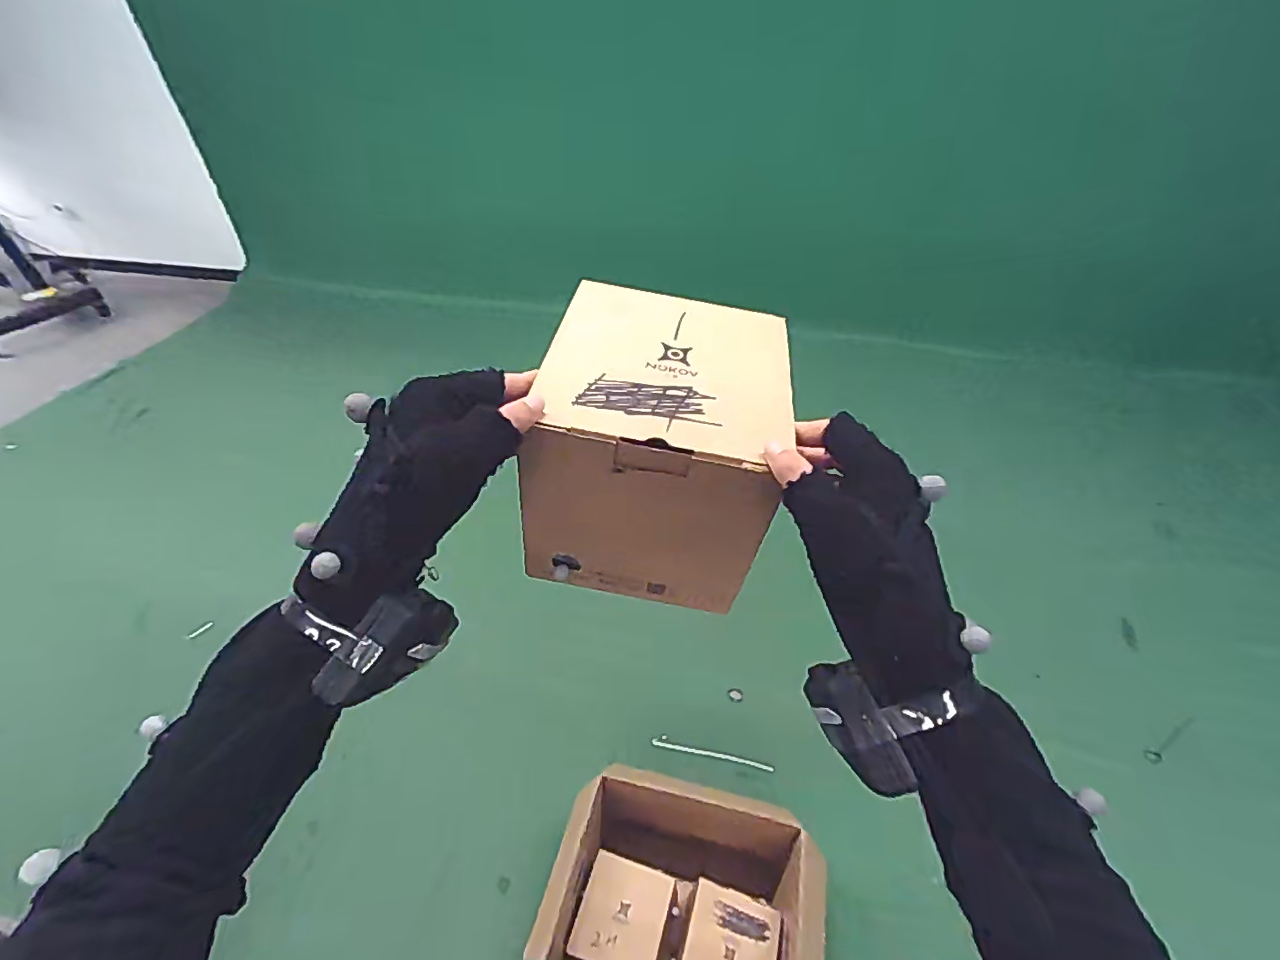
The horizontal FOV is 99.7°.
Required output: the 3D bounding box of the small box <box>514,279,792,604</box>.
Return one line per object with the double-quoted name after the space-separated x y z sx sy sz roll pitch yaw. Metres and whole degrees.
0.012 -0.027 0.423 0.168 0.176 0.179 11 47 1 "small box"
